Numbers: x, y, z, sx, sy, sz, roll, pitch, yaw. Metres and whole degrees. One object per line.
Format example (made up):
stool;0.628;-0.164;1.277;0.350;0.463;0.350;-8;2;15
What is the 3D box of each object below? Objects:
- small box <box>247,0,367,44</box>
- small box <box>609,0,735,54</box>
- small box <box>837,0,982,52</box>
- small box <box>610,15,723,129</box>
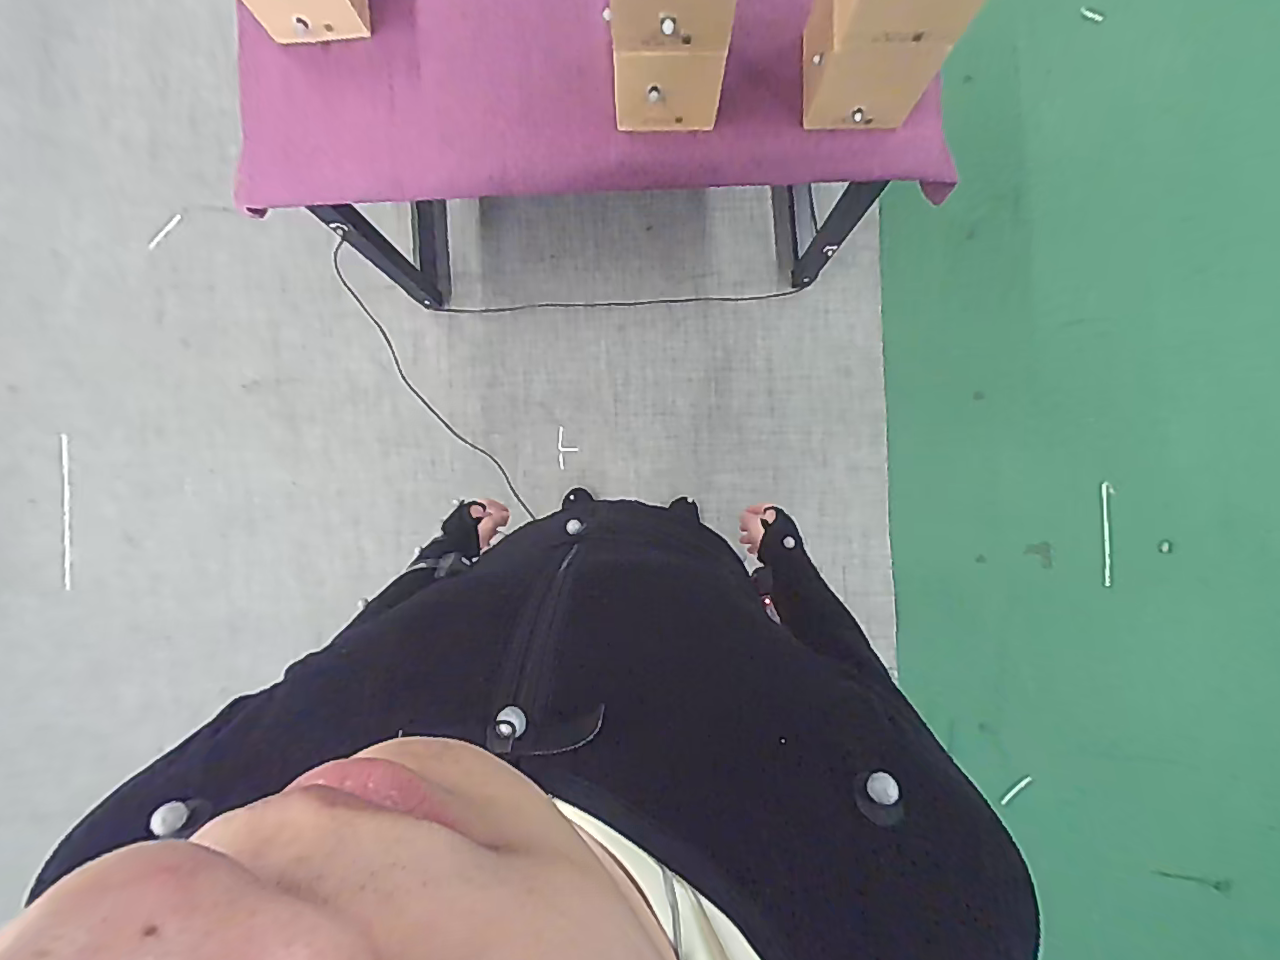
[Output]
small box;-0.561;-0.852;0.862;0.168;0.176;0.179;-5;89;0
small box;0.042;-0.700;0.693;0.168;0.176;0.179;0;88;1
small box;0.359;-0.698;0.688;0.168;0.176;0.179;1;87;2
small box;0.041;-0.691;0.857;0.168;0.176;0.179;0;87;1
